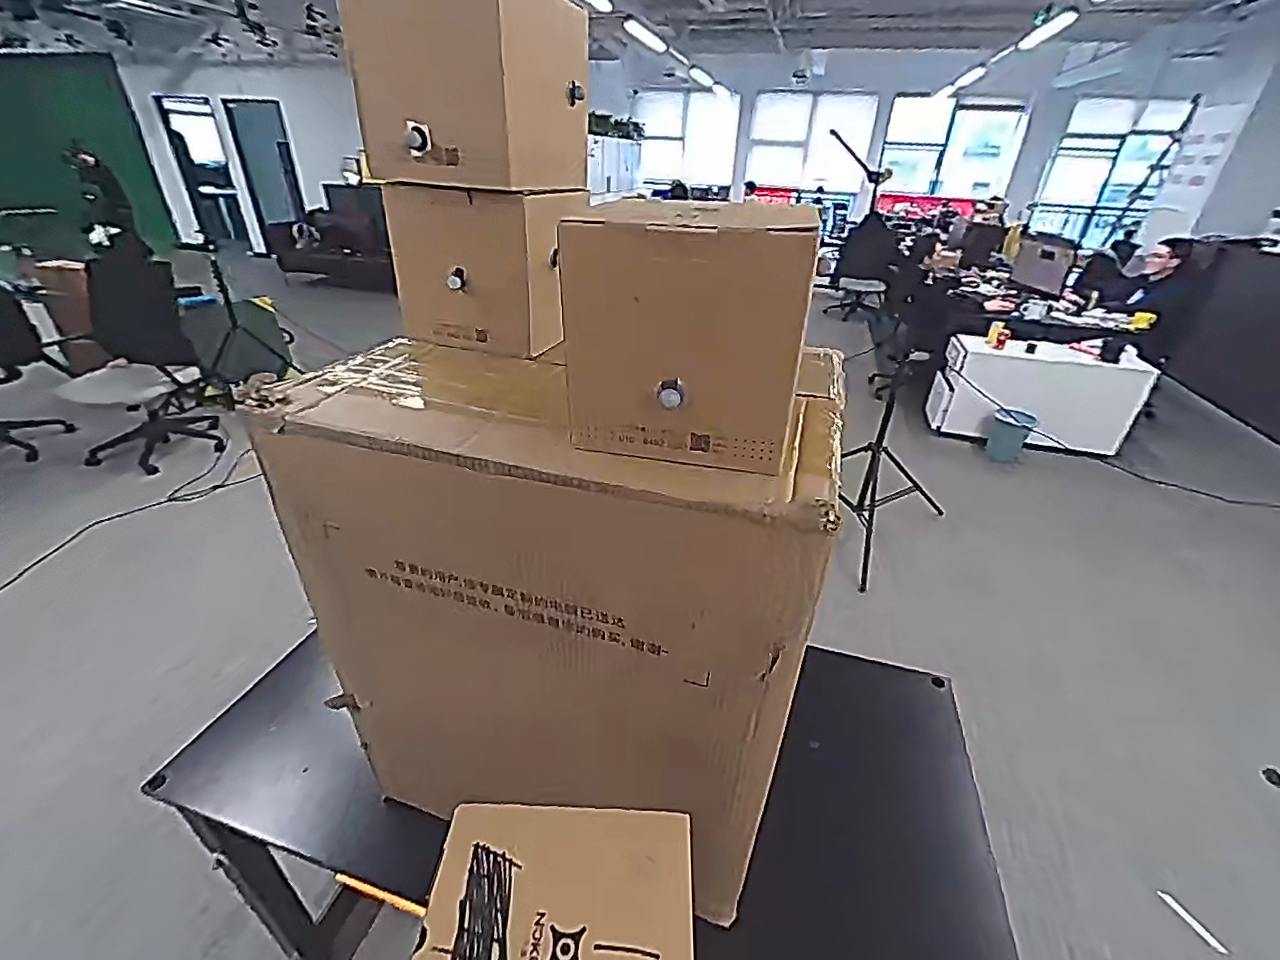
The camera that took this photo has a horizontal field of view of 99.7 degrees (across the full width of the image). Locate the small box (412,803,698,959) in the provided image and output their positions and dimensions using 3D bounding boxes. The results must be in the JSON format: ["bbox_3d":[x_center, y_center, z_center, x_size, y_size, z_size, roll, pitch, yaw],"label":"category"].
[{"bbox_3d":[-0.051,0.354,0.372,0.179,0.176,0.168,1,31,2],"label":"small box"}]

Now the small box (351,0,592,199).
[{"bbox_3d":[-0.158,-0.388,0.548,0.168,0.176,0.179,11,32,15],"label":"small box"}]

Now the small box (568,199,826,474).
[{"bbox_3d":[0.050,-0.126,0.441,0.168,0.176,0.179,8,33,12],"label":"small box"}]

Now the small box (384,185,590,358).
[{"bbox_3d":[-0.164,-0.255,0.645,0.168,0.176,0.179,12,32,13],"label":"small box"}]
